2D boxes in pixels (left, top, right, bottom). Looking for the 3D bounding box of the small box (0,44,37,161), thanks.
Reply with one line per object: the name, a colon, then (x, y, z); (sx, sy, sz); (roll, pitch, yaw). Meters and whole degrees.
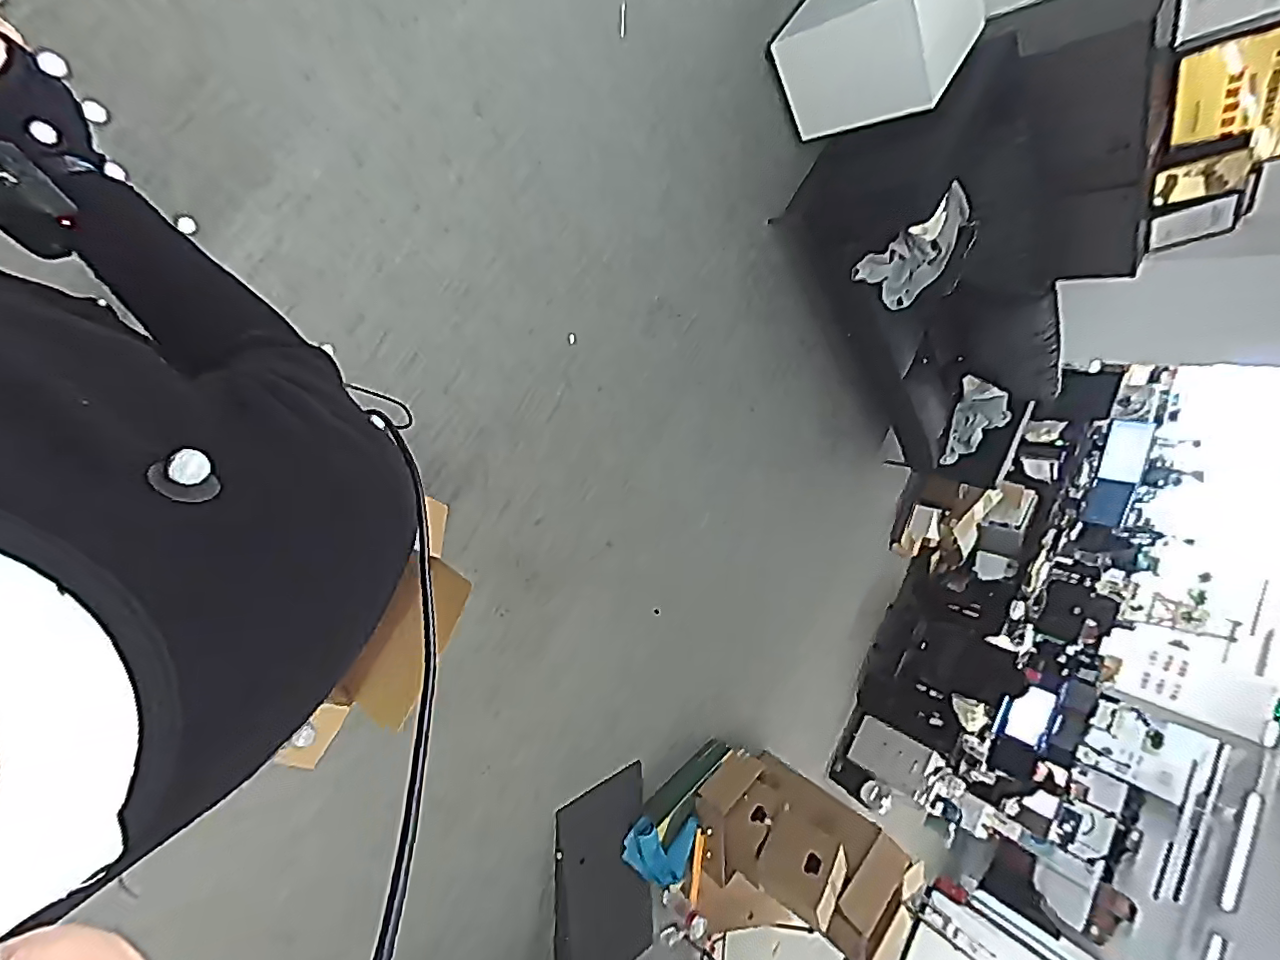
small box: (-0.631, -0.369, 0.417); (0.179, 0.176, 0.168); (-24, 102, -33)
